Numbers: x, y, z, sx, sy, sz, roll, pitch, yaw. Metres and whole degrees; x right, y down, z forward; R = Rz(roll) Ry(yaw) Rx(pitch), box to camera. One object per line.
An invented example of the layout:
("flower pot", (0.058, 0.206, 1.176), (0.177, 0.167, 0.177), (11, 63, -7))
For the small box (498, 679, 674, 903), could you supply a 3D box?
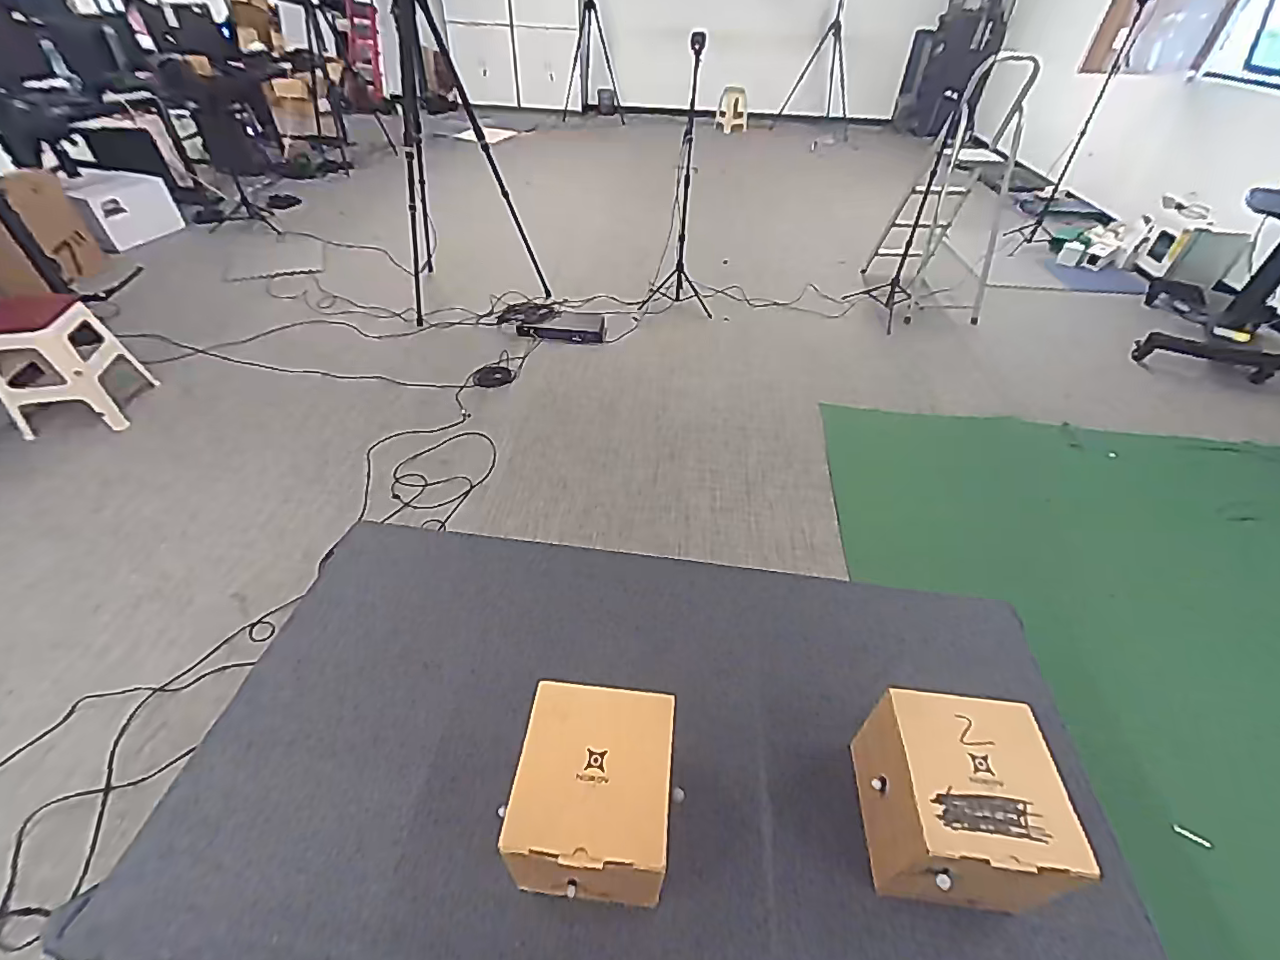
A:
("small box", (-0.055, 0.364, 0.636), (0.168, 0.176, 0.179), (6, 43, 2))
